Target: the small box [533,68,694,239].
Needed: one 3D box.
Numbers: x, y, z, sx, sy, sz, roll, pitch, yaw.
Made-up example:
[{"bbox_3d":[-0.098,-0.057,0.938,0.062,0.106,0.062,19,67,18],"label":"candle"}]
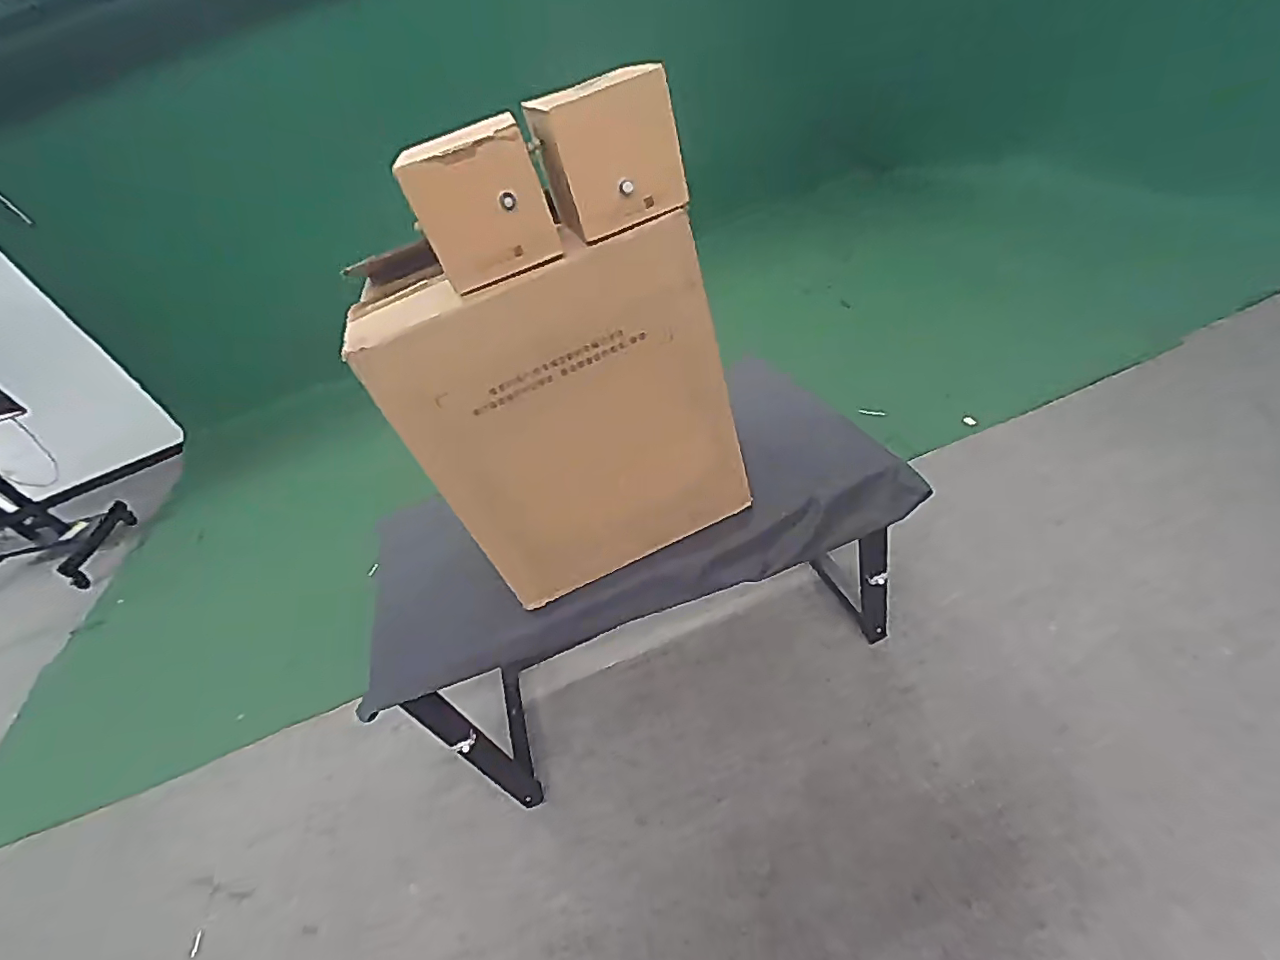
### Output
[{"bbox_3d":[-0.038,-0.475,0.792,0.168,0.176,0.179,-24,41,-5],"label":"small box"}]
